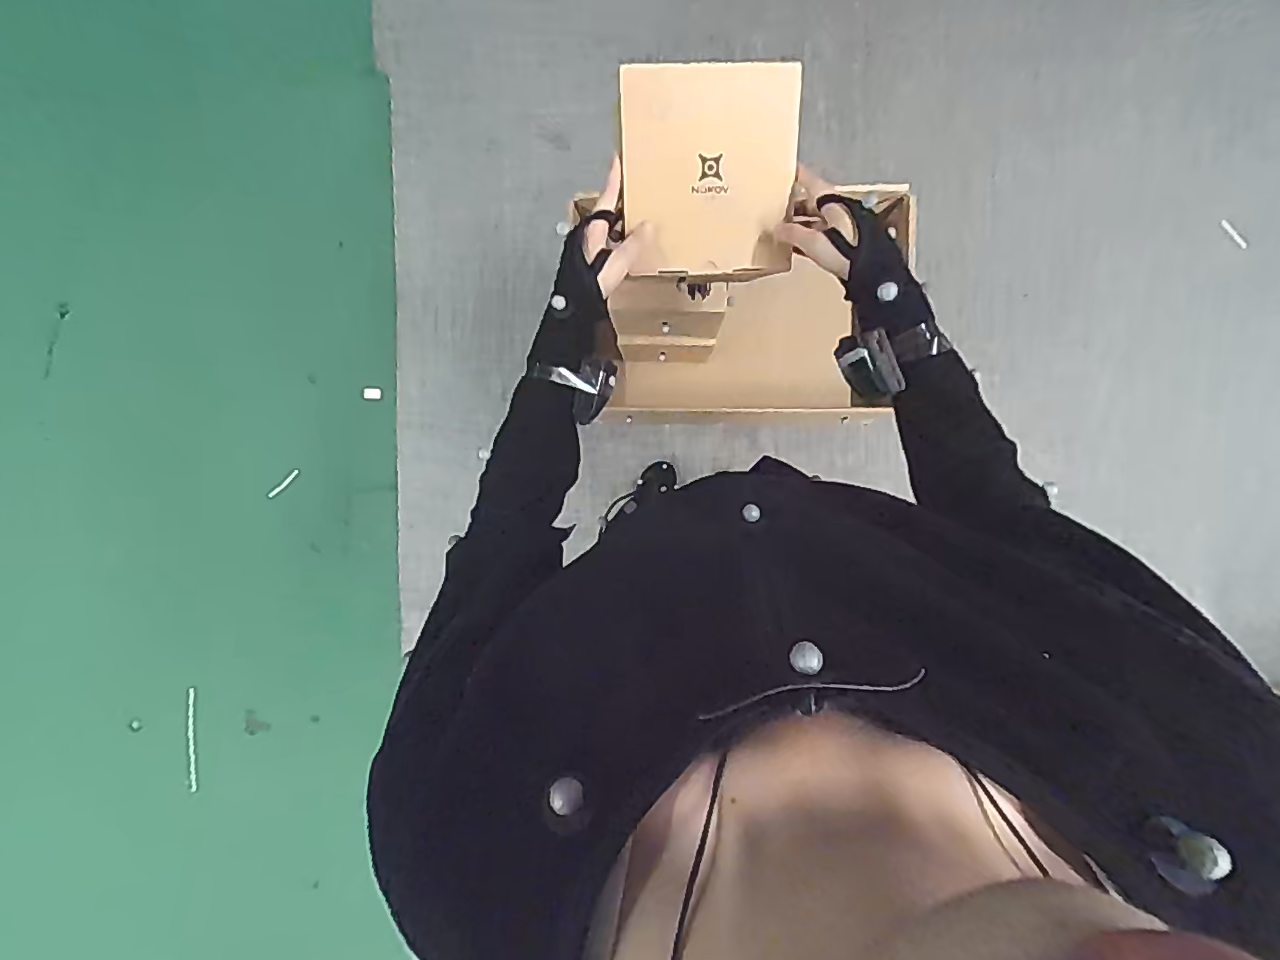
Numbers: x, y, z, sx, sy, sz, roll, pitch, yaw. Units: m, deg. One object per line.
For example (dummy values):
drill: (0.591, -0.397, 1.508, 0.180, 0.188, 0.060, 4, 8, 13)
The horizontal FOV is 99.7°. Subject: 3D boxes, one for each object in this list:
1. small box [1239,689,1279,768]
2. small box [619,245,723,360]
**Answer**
small box: (1.669, 0.637, 1.354, 0.168, 0.176, 0.179, -2, 91, 4)
small box: (0.057, -0.323, 1.011, 0.179, 0.176, 0.168, 2, 91, 4)
